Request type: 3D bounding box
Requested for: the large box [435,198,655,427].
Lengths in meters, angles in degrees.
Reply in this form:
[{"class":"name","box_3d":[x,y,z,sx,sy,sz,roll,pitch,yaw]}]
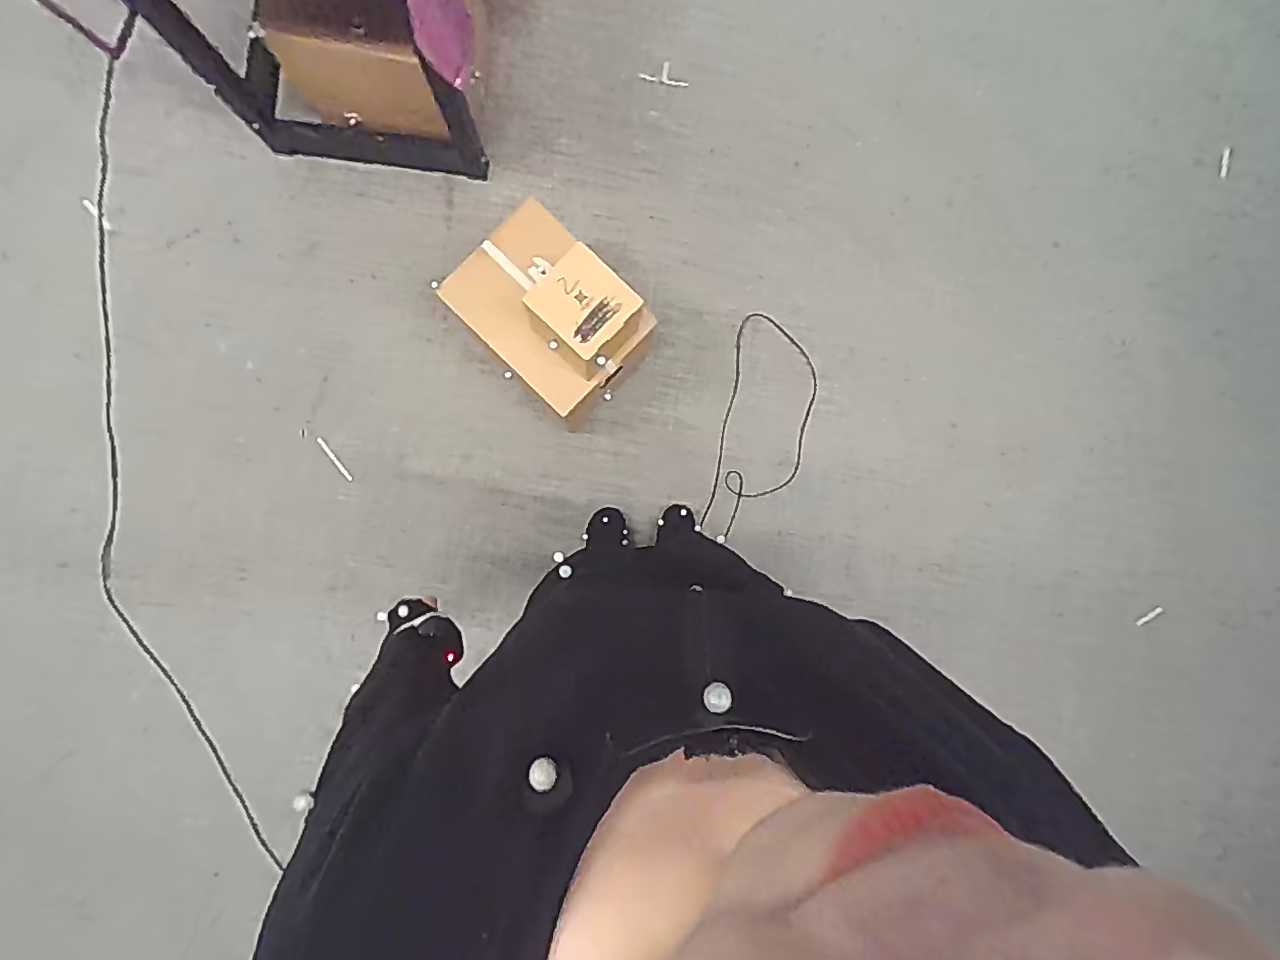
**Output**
[{"class":"large box","box_3d":[-0.216,-0.387,1.356,0.408,0.320,0.320,44,86,-1]}]
